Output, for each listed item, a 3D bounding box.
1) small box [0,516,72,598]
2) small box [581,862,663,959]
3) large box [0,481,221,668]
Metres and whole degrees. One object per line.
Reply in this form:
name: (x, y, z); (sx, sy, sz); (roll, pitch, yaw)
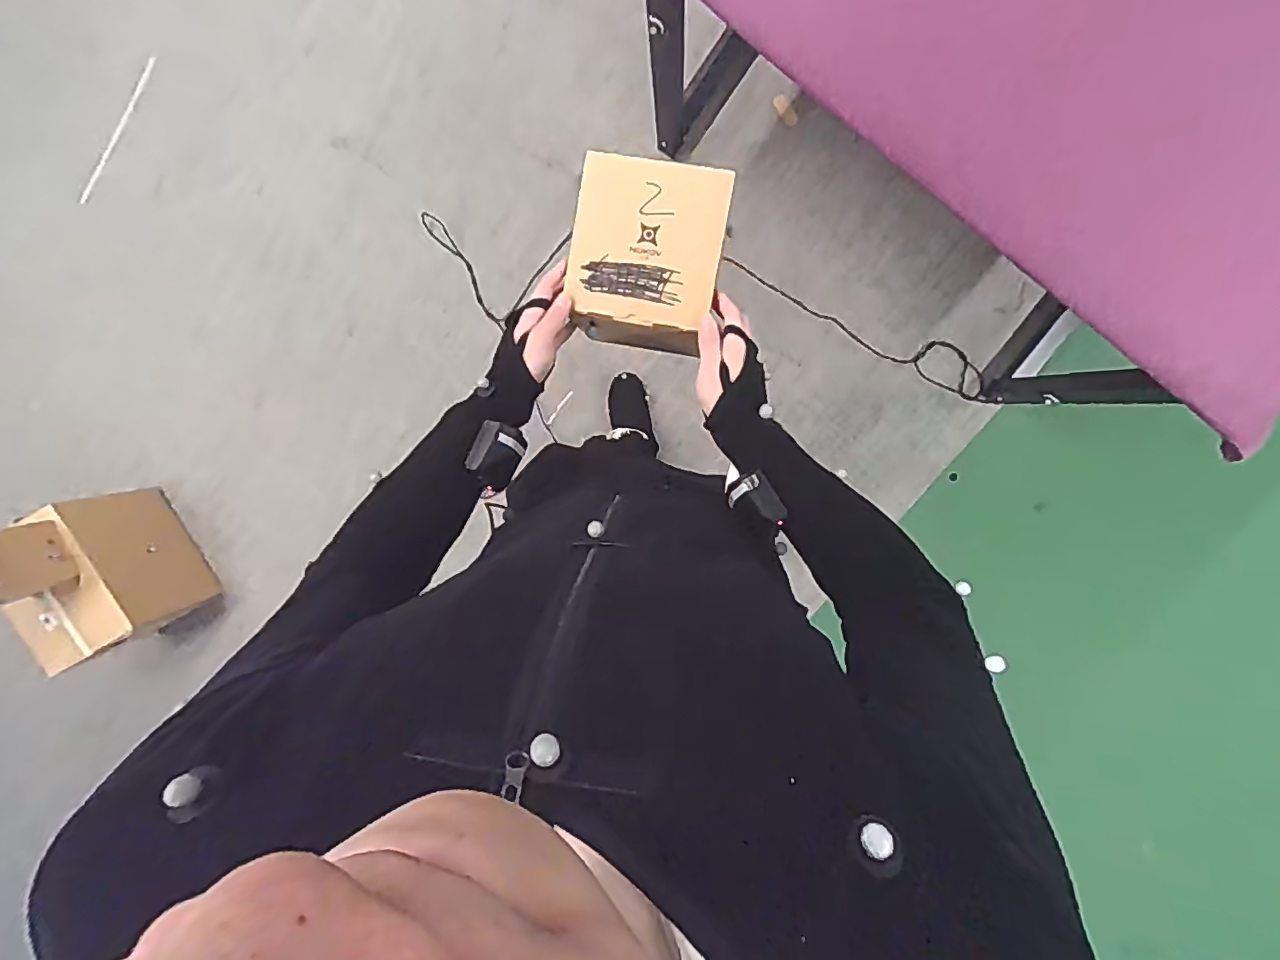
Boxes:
small box: (-1.622, 0.207, 1.363); (0.179, 0.176, 0.168); (-22, 98, 5)
small box: (-0.040, 1.151, 1.413); (0.168, 0.176, 0.179); (-15, 96, 7)
large box: (-1.601, 0.264, 1.619); (0.320, 0.320, 0.408); (-28, 97, 8)
